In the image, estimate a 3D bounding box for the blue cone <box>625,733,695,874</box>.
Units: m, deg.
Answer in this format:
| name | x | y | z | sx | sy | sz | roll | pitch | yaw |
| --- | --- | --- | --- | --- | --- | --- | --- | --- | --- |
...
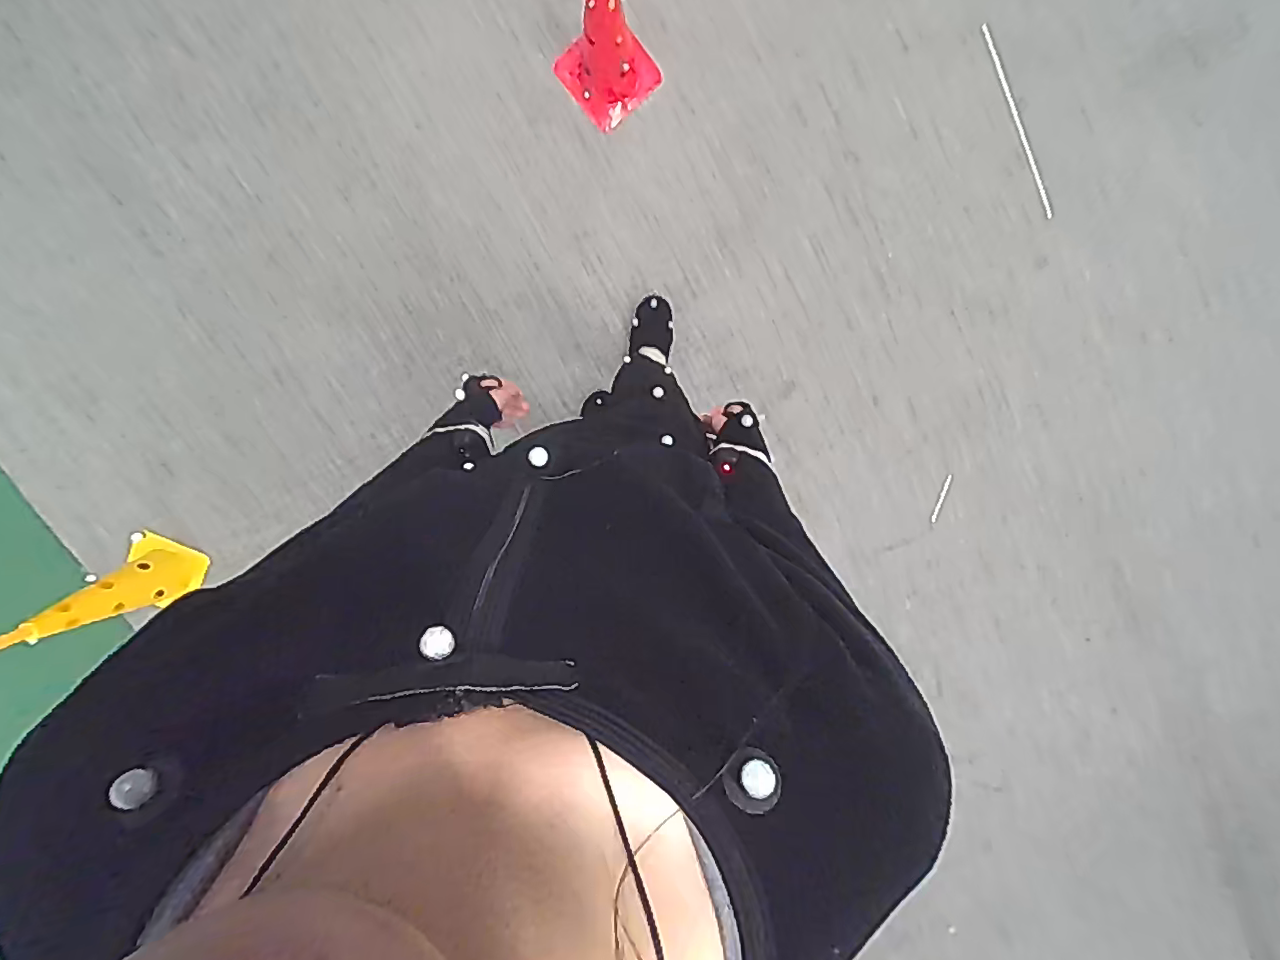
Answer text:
| name | x | y | z | sx | sy | sz | roll | pitch | yaw |
| --- | --- | --- | --- | --- | --- | --- | --- | --- | --- |
| blue cone | 0.074 | 0.902 | 1.498 | 0.193 | 0.380 | 0.192 | 17 | 99 | -7 |
